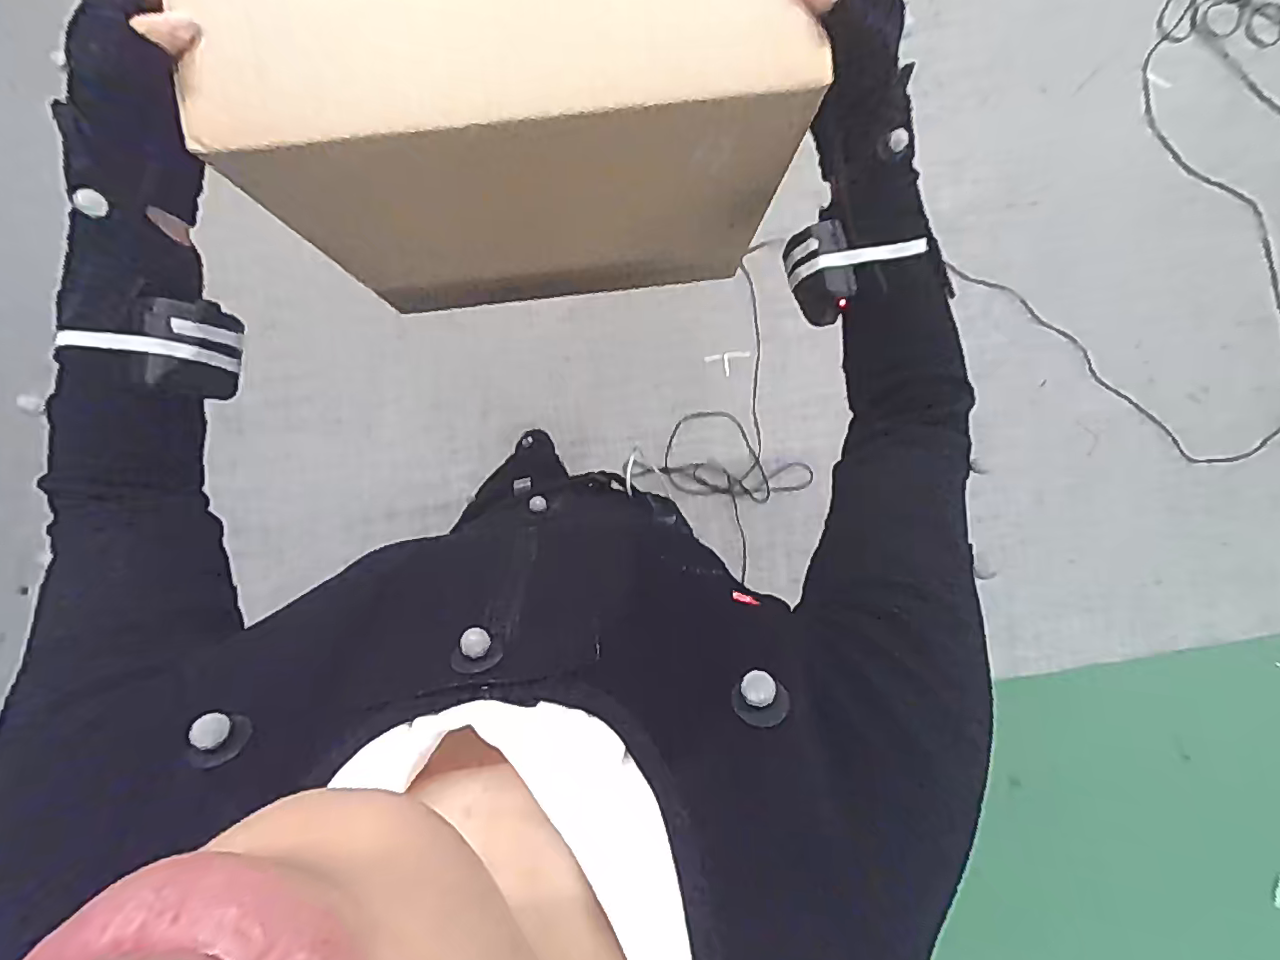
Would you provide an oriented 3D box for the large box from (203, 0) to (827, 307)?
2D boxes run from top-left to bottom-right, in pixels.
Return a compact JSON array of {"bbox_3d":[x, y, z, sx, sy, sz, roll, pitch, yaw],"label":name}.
[{"bbox_3d":[-0.097,-0.383,0.505,0.408,0.320,0.320,-7,89,-3],"label":"large box"}]
